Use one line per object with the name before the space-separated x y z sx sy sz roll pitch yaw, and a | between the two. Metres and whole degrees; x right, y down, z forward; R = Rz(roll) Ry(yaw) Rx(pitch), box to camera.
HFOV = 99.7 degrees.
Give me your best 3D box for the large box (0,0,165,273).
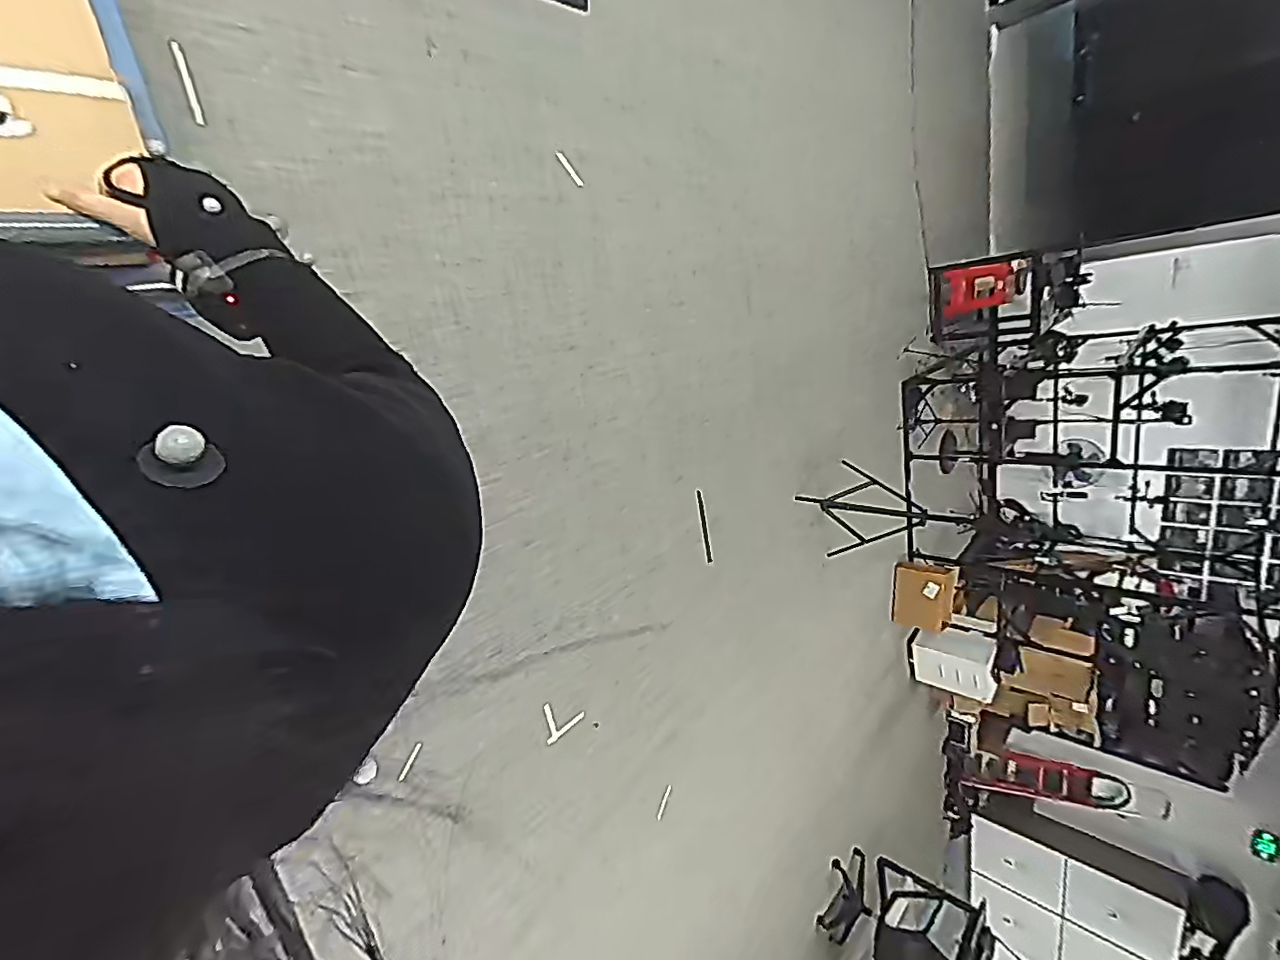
large box | -0.941 -0.455 0.698 0.408 0.320 0.320 -25 112 -43
